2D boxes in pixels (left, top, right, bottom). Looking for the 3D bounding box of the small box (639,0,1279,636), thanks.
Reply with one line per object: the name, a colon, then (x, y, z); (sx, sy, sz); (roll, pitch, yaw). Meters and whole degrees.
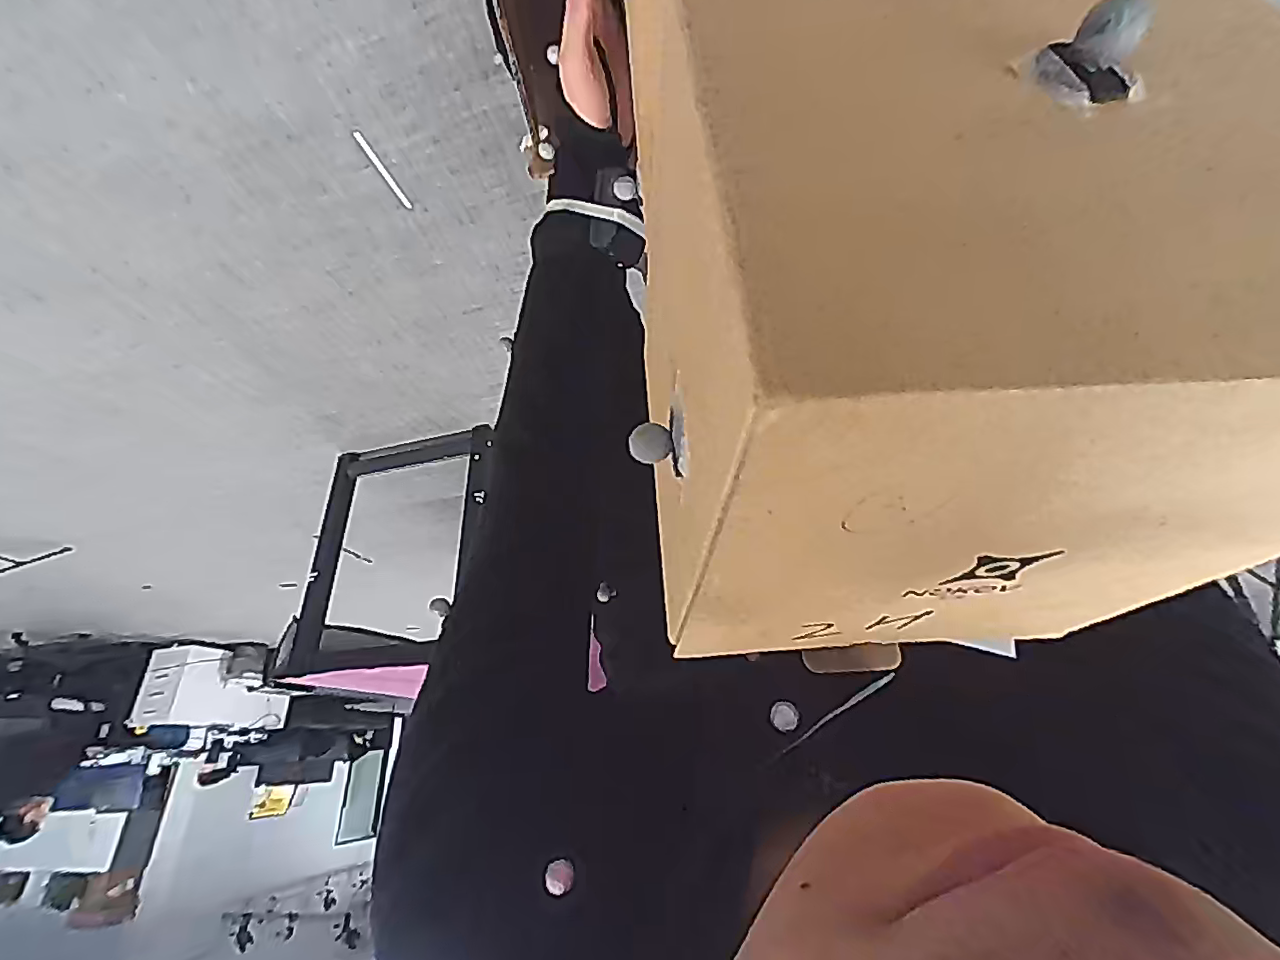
small box: (0.087, -0.053, 0.193); (0.168, 0.176, 0.179); (-2, 151, -3)
